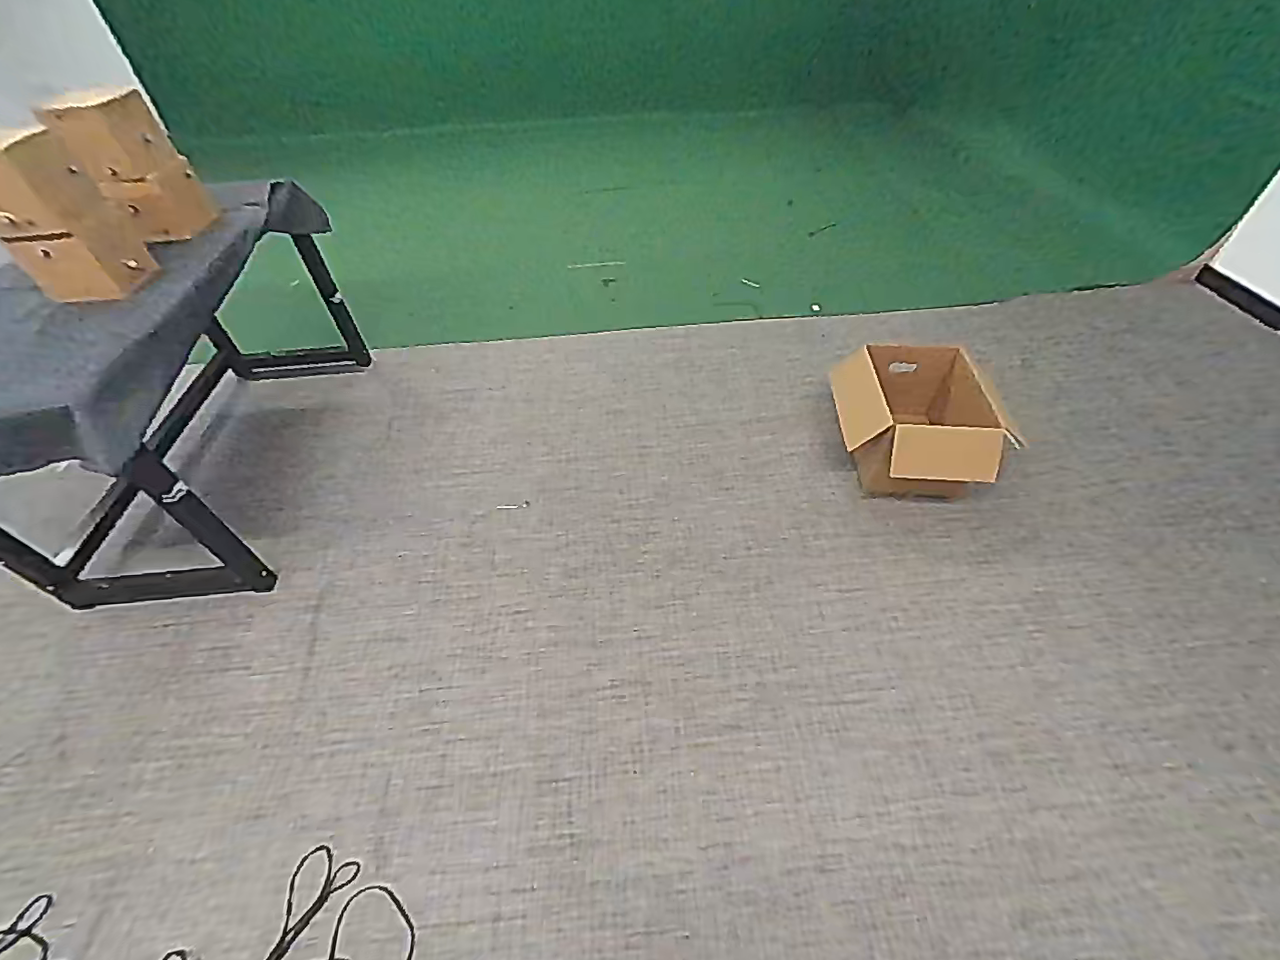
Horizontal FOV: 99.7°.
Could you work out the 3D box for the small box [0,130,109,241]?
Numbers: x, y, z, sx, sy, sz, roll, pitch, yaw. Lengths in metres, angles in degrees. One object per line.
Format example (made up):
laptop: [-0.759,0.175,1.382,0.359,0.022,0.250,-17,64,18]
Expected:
small box: [-1.363,-0.658,1.210,0.168,0.176,0.179,-7,49,-2]

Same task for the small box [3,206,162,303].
small box: [-1.358,-0.554,1.335,0.179,0.176,0.168,-5,48,-2]

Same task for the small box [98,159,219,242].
small box: [-1.375,-0.802,1.562,0.168,0.176,0.179,-4,47,0]

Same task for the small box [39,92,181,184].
small box: [-1.397,-0.910,1.435,0.168,0.176,0.179,-1,48,3]
